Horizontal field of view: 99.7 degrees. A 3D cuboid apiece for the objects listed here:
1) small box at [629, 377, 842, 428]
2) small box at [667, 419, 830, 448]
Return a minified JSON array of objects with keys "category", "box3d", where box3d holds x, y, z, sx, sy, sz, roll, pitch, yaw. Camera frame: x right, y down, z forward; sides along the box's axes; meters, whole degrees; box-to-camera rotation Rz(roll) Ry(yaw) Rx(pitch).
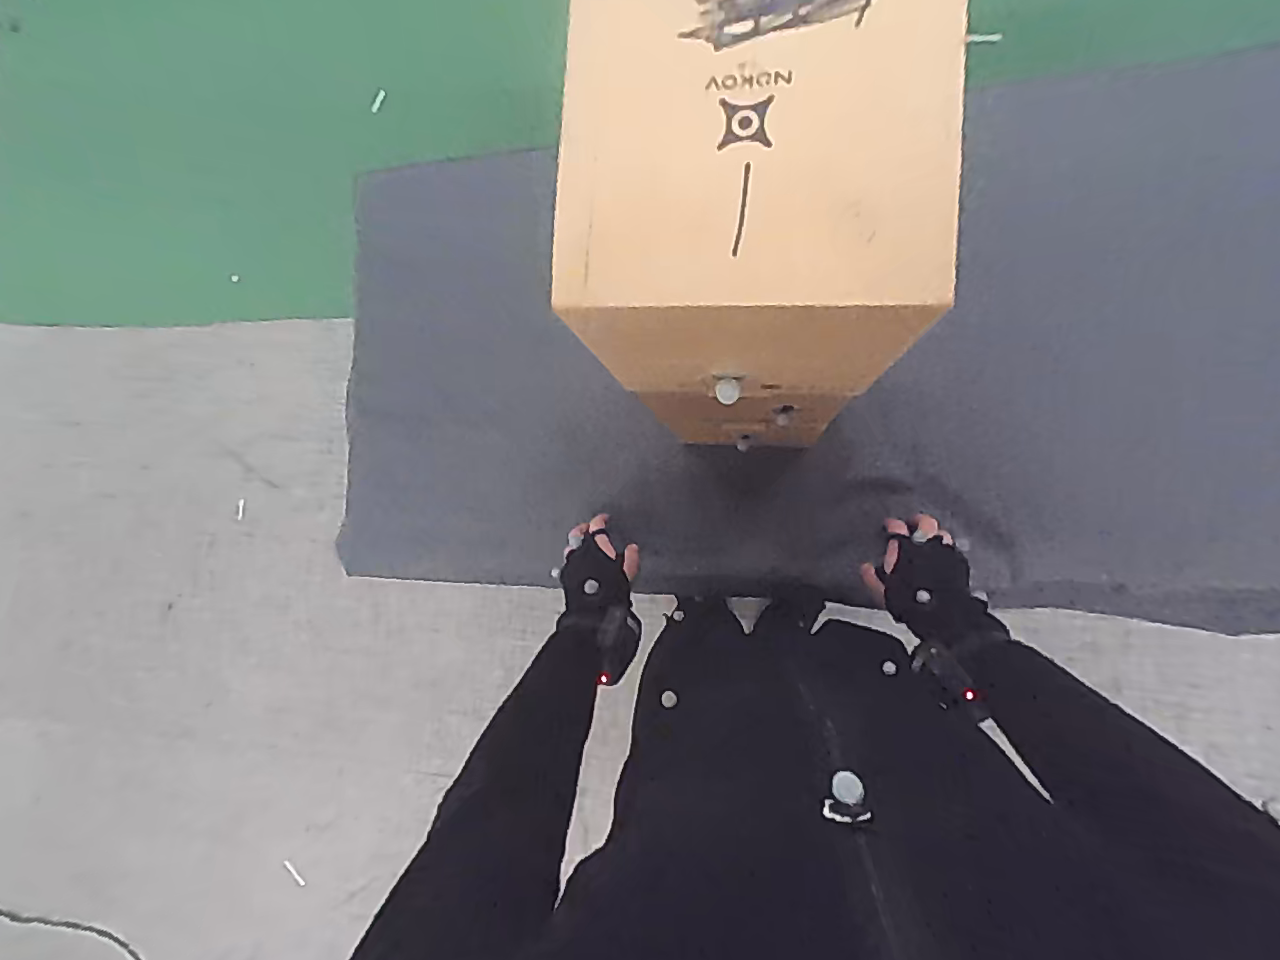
[{"category":"small box","box3d":[0.091,-0.141,0.464,0.168,0.176,0.179,1,86,11]},{"category":"small box","box3d":[0.128,-0.131,0.623,0.168,0.176,0.179,2,88,12]}]
